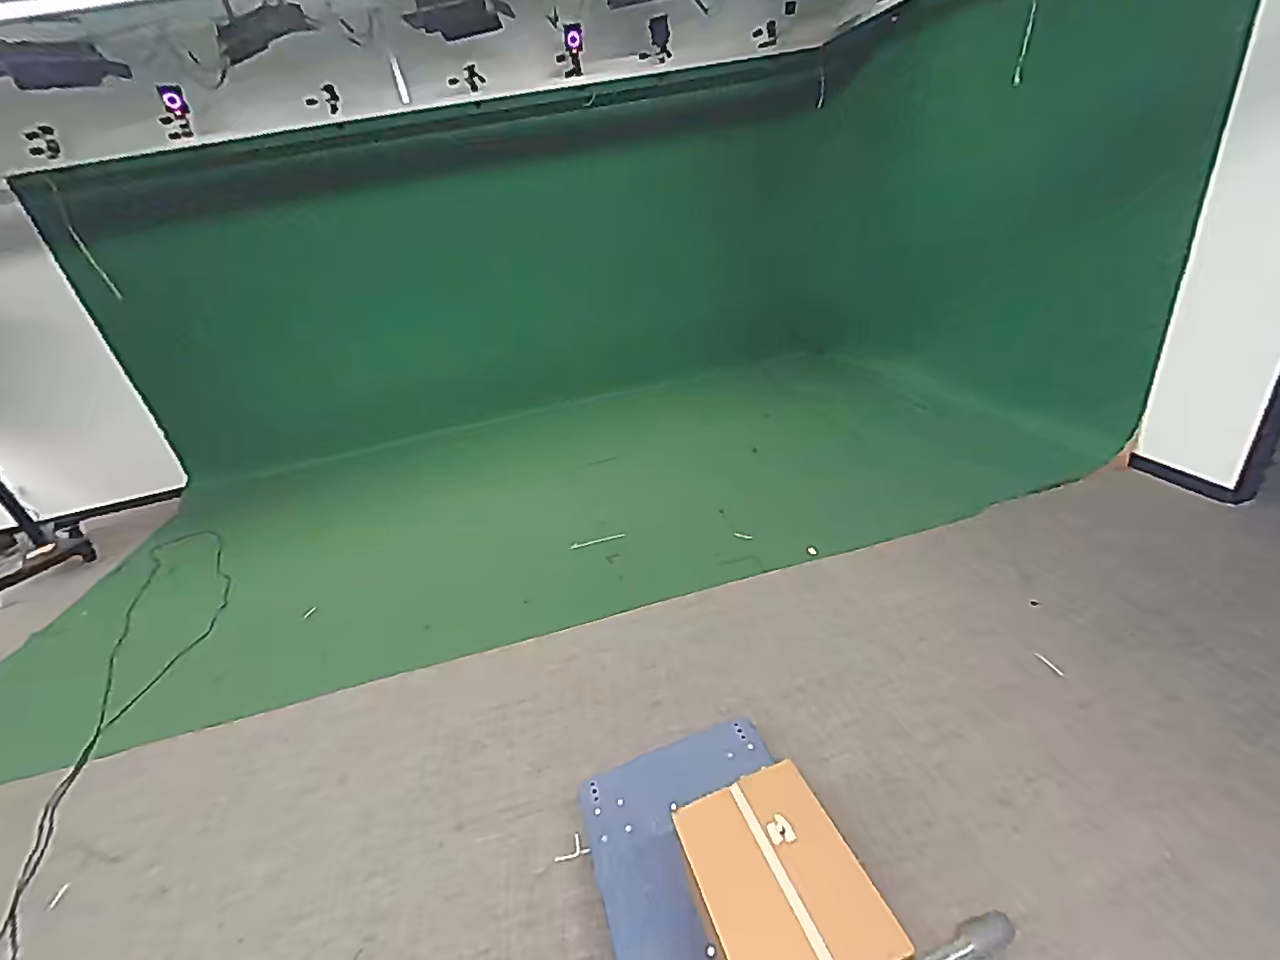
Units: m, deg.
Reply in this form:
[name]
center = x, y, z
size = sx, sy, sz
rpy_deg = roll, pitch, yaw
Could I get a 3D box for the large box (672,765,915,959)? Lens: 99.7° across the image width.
[large box]
center = 0.303, 0.922, 1.142
size = 0.320, 0.320, 0.408
rpy_deg = -16, 27, -13
